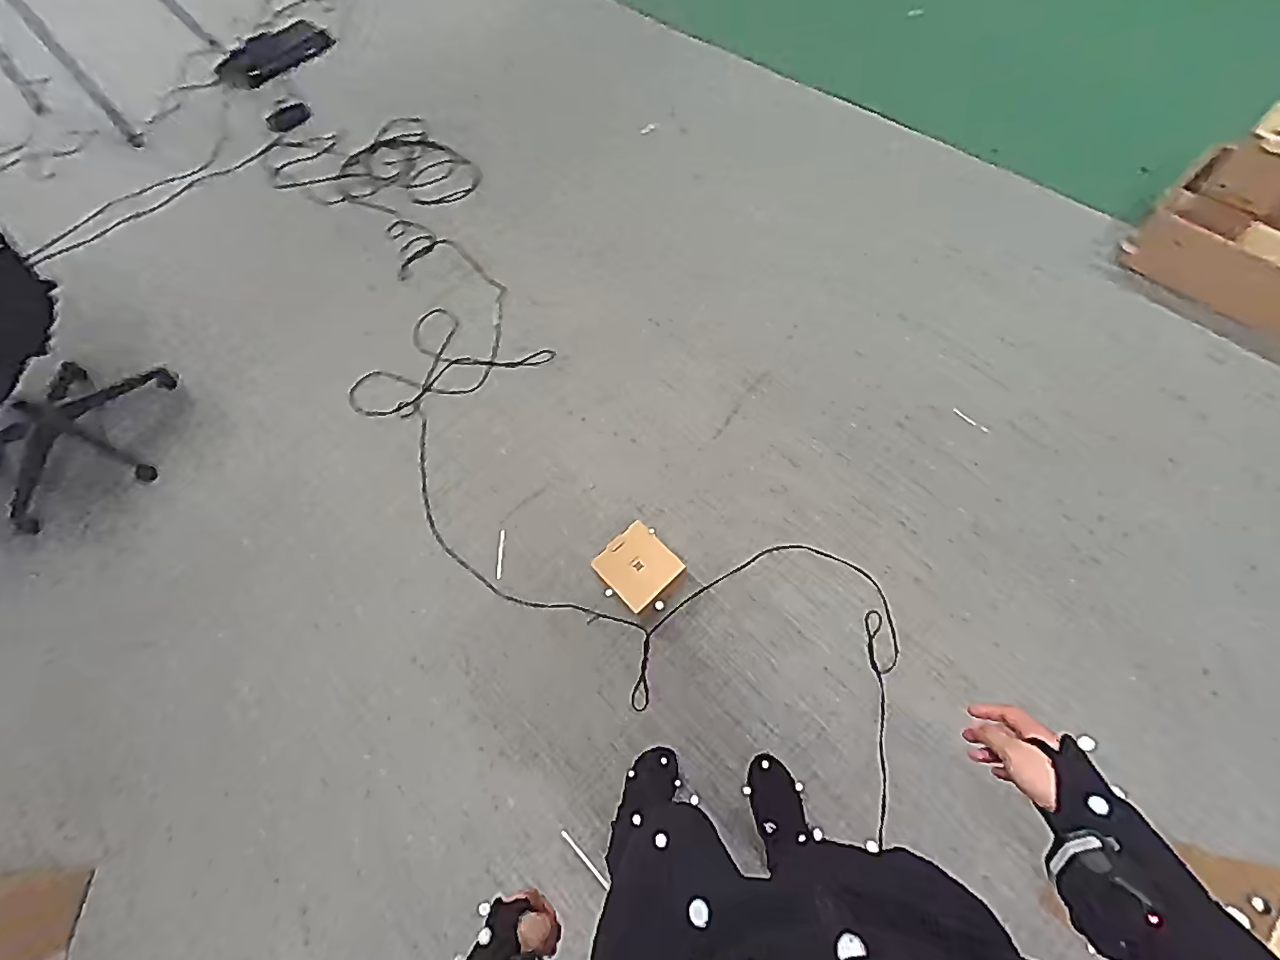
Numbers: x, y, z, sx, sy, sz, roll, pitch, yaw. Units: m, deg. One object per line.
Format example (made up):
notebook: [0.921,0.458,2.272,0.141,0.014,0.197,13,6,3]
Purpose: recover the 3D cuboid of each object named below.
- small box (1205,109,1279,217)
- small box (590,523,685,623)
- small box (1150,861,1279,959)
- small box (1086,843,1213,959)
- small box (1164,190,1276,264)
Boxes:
small box: [1.720,-0.859,1.475,0.179,0.176,0.168,-42,69,-14]
small box: [0.001,0.244,1.375,0.168,0.176,0.179,-42,67,-14]
small box: [0.874,0.663,0.732,0.179,0.176,0.168,39,74,20]
small box: [0.898,0.732,0.880,0.179,0.176,0.168,39,73,22]
small box: [1.748,-0.794,1.623,0.168,0.176,0.179,40,75,21]
